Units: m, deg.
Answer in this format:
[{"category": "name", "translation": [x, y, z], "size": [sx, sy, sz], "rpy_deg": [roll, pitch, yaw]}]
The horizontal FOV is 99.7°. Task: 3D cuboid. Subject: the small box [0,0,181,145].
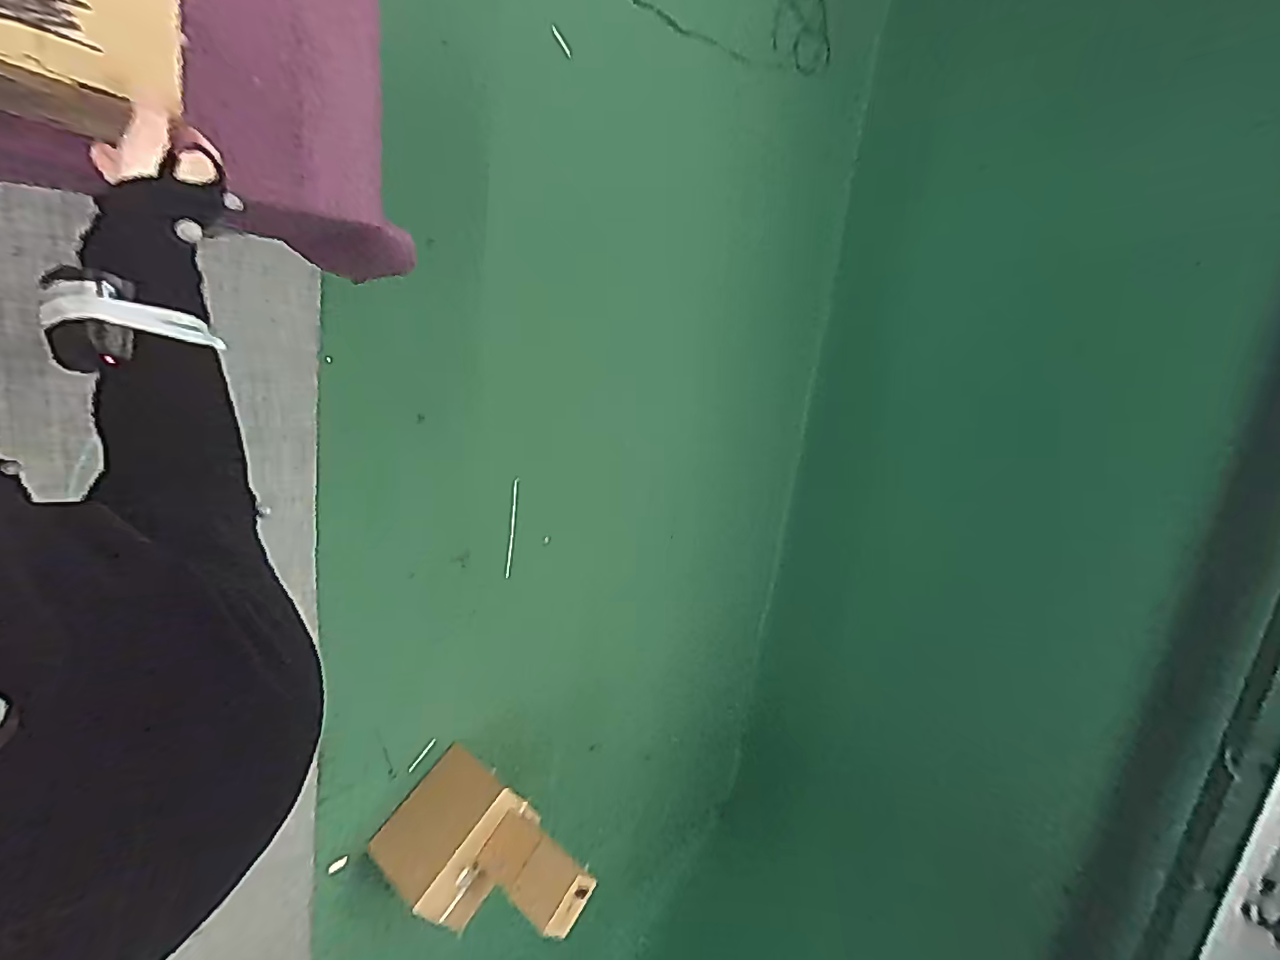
[{"category": "small box", "translation": [-0.476, -0.388, 0.415], "size": [0.168, 0.176, 0.179], "rpy_deg": [-6, 107, -51]}]
